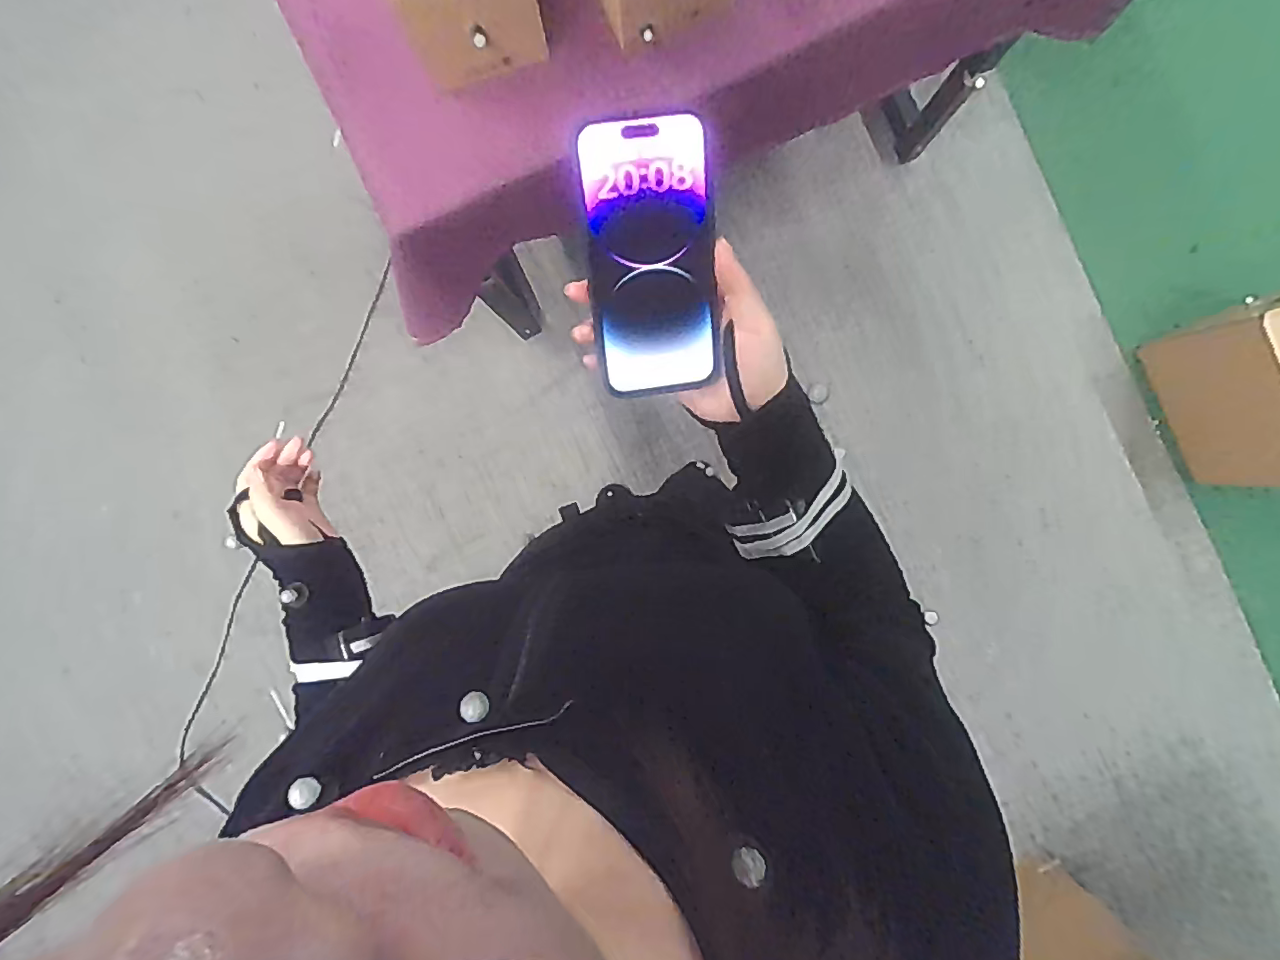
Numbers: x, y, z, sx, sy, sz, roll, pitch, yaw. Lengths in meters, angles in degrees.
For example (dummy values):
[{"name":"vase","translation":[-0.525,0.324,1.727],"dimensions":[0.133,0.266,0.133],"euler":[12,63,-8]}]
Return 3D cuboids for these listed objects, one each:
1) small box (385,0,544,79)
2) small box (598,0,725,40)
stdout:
[{"name":"small box","translation":[-0.230,-0.642,0.668],"dimensions":[0.168,0.176,0.179],"euler":[-17,92,1]},{"name":"small box","translation":[0.015,-0.694,0.661],"dimensions":[0.168,0.176,0.179],"euler":[-24,90,1]}]
